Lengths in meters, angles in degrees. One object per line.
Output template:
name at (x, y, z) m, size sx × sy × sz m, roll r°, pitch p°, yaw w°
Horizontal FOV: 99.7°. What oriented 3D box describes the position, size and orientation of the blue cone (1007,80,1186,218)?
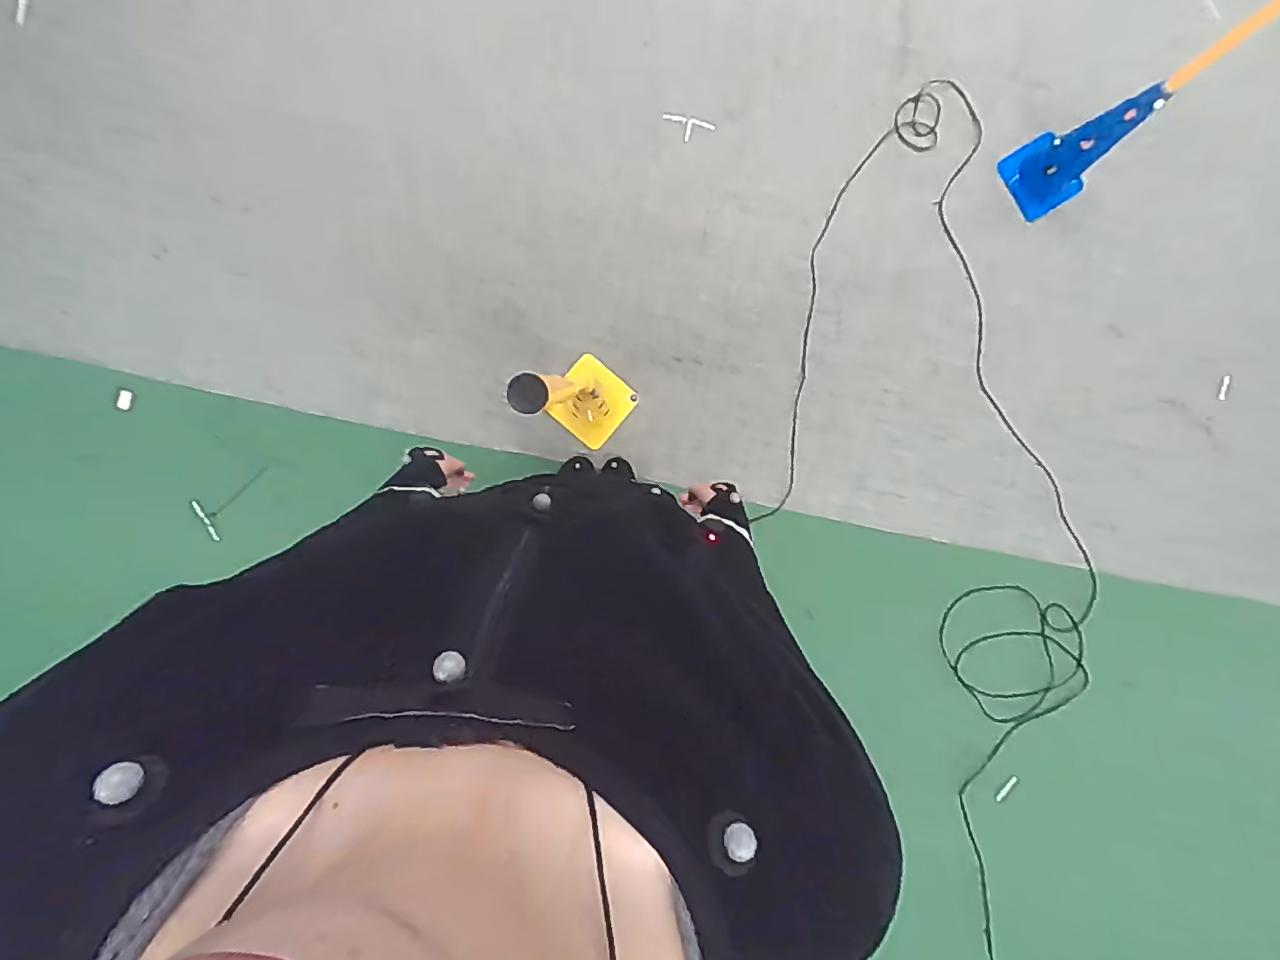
blue cone at (1.160, -0.864, 1.366) m, size 0.193 × 0.380 × 0.192 m, roll -34°, pitch 93°, yaw -4°
